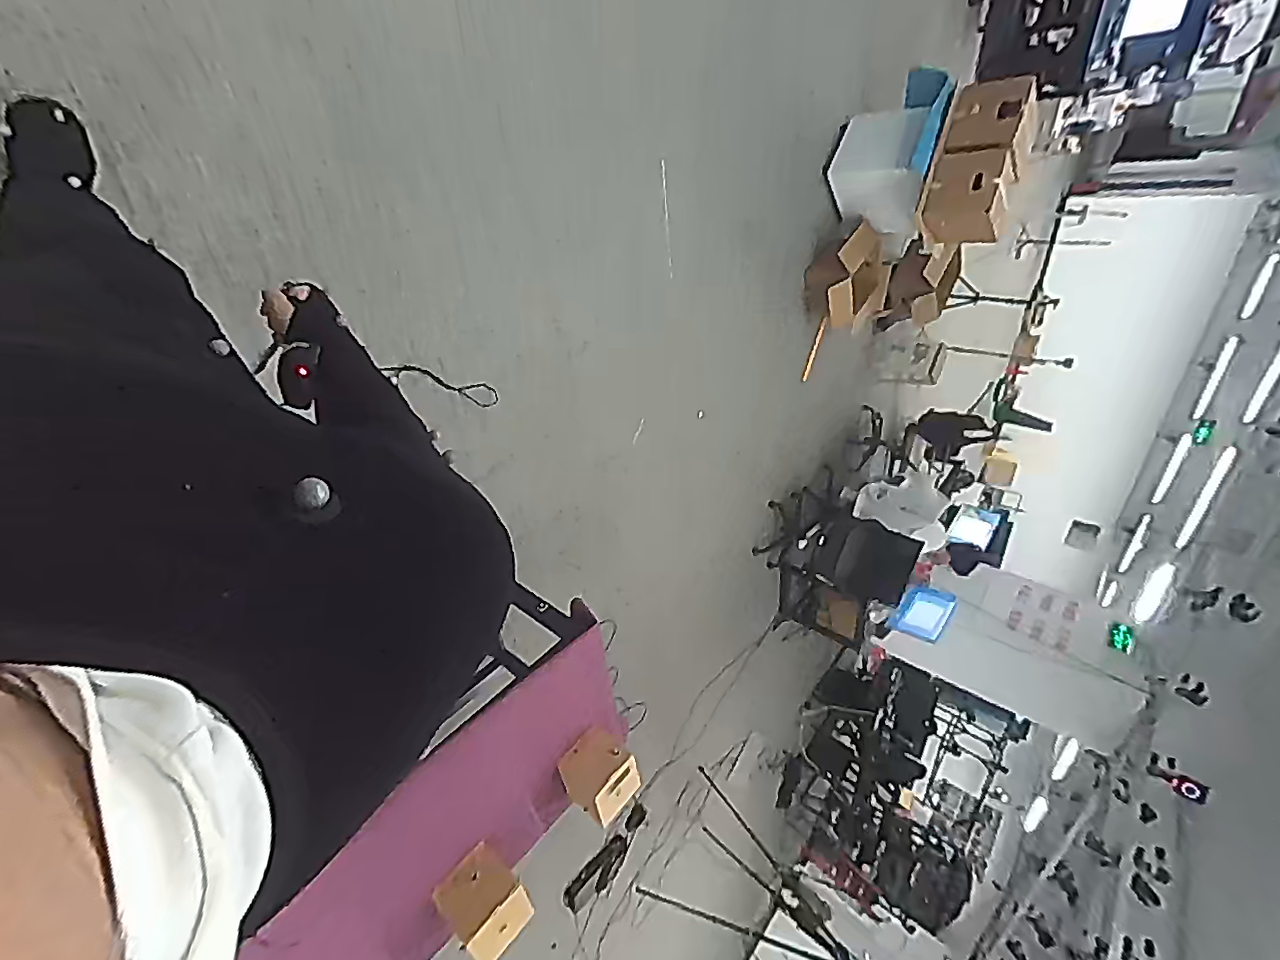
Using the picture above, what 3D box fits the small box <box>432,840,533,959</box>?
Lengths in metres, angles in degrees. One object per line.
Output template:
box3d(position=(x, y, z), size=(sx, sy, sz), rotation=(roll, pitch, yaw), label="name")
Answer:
box3d(position=(-0.409, 1.092, 1.410), size=(0.168, 0.176, 0.179), rotation=(-36, 131, -36), label="small box")
